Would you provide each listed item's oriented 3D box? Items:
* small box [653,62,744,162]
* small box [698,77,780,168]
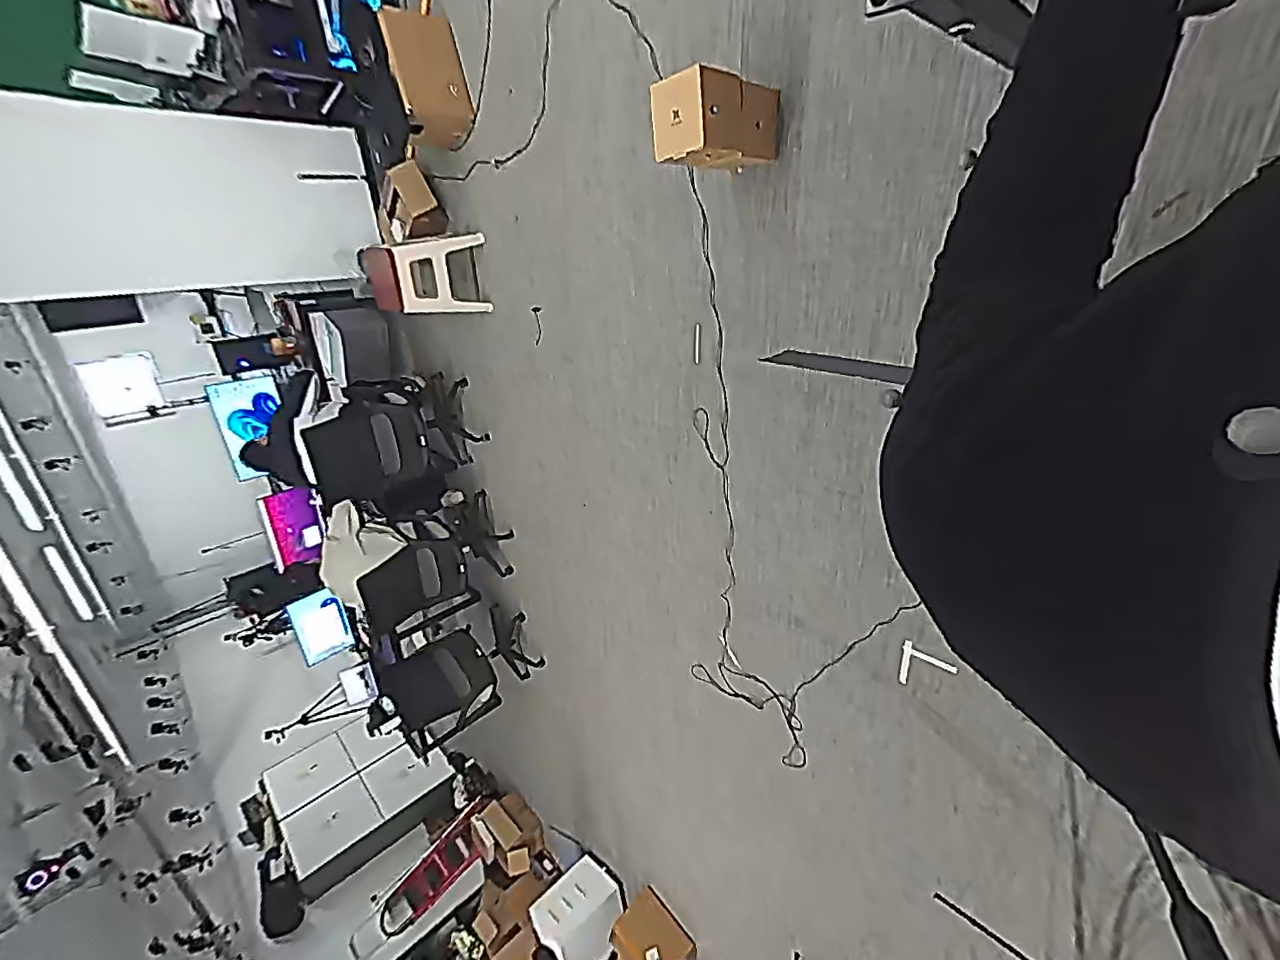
[{"bbox_3d":[0.156,-0.936,1.397,0.168,0.176,0.179,13,117,44],"label":"small box"},{"bbox_3d":[0.274,-0.981,1.500,0.168,0.176,0.179,18,122,43],"label":"small box"}]
